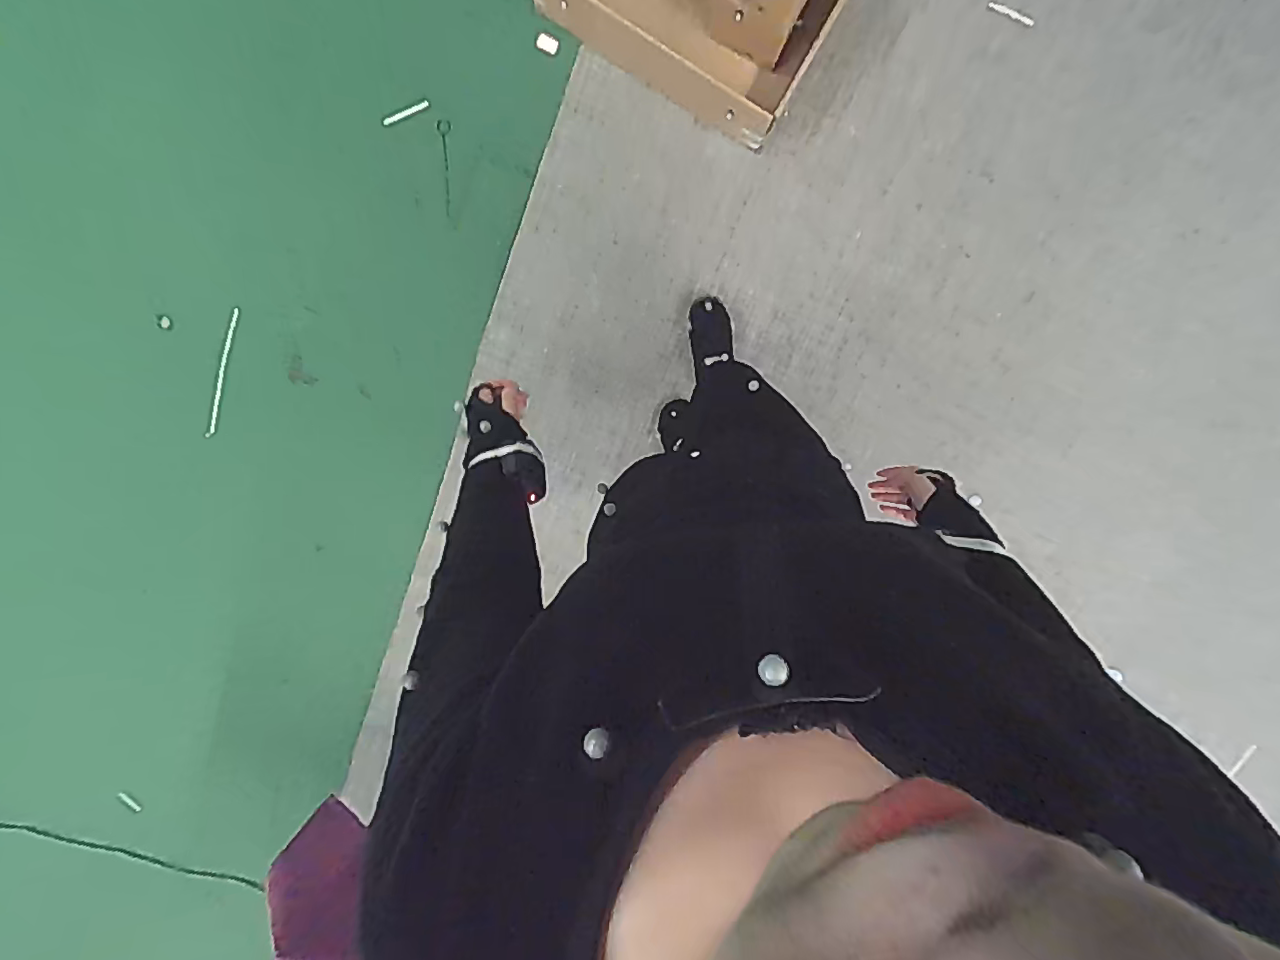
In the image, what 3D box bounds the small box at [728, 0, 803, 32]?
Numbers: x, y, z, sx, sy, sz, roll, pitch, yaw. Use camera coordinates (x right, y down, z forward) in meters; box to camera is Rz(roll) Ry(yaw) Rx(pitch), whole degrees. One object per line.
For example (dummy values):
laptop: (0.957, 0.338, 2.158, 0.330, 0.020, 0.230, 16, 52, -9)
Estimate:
small box: (0.245, -0.950, 0.941, 0.168, 0.176, 0.179, 29, 105, -4)
